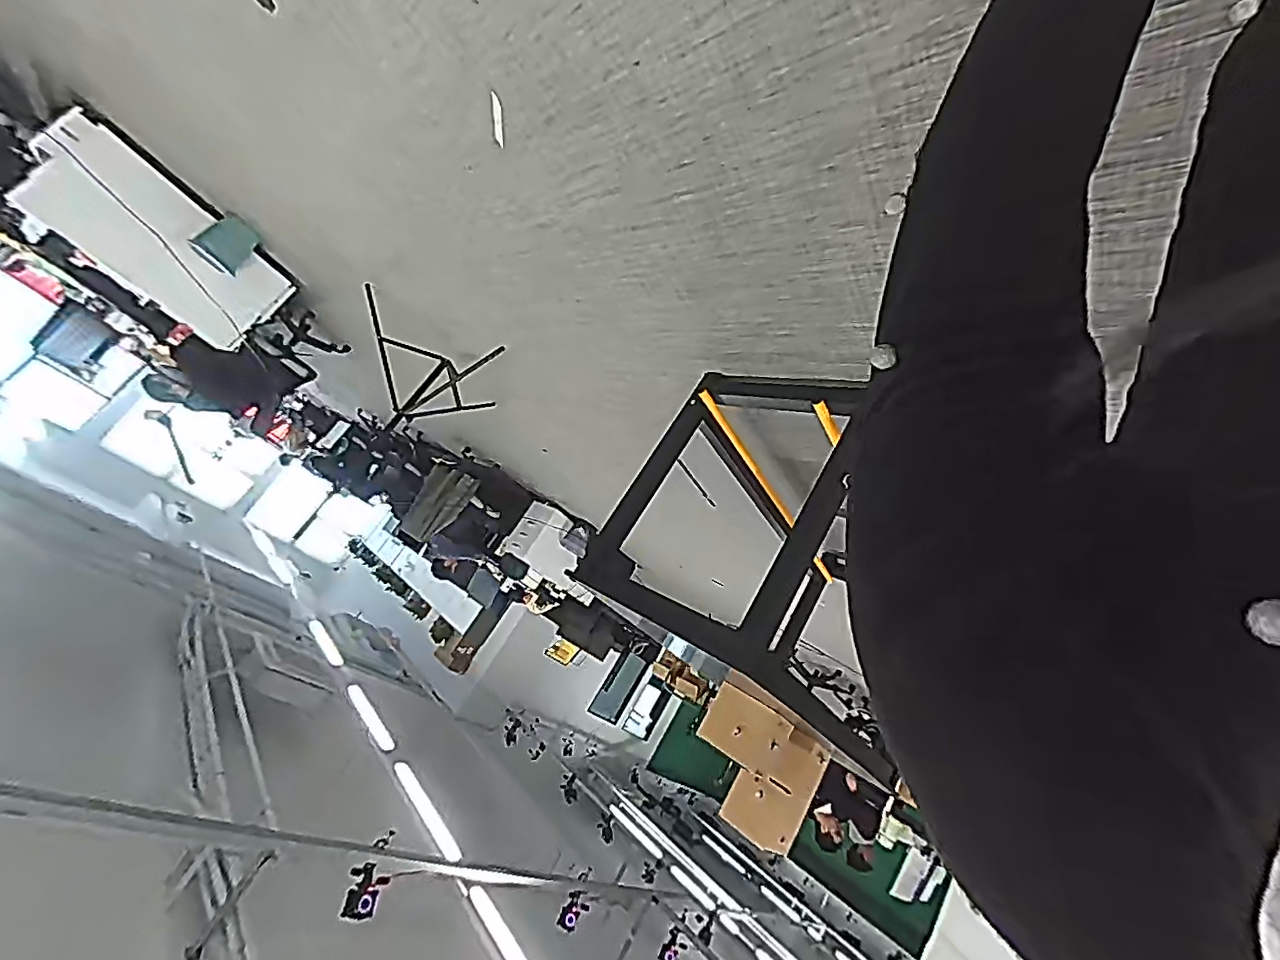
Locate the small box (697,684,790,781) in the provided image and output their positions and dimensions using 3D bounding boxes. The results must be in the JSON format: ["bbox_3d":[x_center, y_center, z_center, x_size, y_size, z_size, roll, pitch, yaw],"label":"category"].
[{"bbox_3d":[0.297,0.699,1.506,0.179,0.176,0.168,17,157,43],"label":"small box"}]

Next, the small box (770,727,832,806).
[{"bbox_3d":[0.464,0.869,1.682,0.179,0.176,0.168,15,156,46],"label":"small box"}]

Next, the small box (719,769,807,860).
[{"bbox_3d":[0.378,1.001,1.635,0.168,0.176,0.179,15,156,48],"label":"small box"}]
